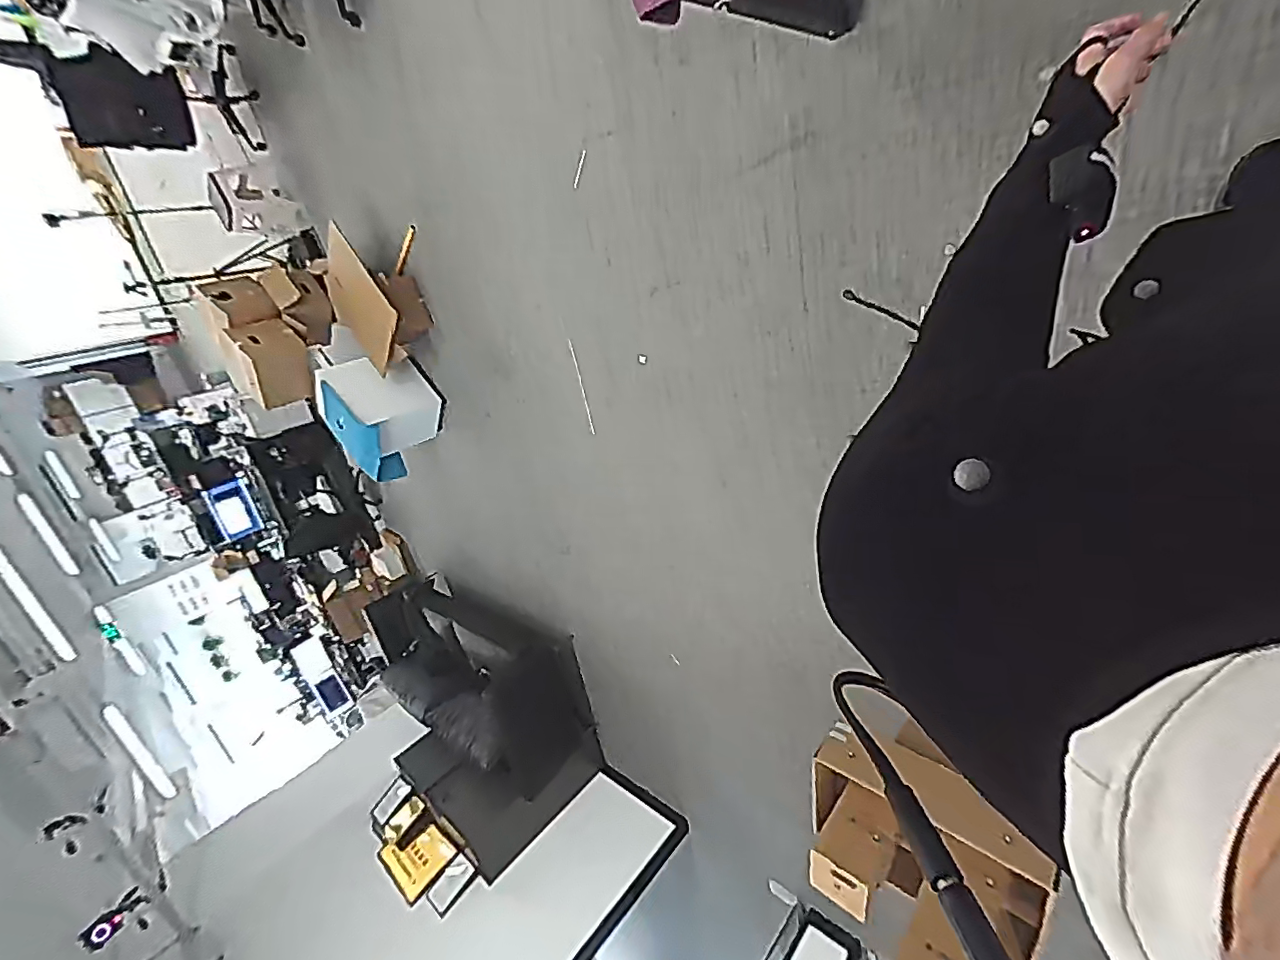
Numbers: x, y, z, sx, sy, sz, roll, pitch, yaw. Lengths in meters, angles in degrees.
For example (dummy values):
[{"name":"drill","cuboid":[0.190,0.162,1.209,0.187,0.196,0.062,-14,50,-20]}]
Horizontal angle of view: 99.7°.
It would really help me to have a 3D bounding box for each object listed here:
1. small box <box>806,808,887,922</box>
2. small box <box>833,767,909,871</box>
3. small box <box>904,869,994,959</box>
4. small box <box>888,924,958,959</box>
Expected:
[{"name":"small box","cuboid":[0.597,1.101,1.561,0.168,0.176,0.179,17,125,40]},{"name":"small box","cuboid":[0.709,1.037,1.664,0.168,0.176,0.179,17,123,41]},{"name":"small box","cuboid":[0.791,1.170,1.394,0.168,0.176,0.179,14,123,41]},{"name":"small box","cuboid":[0.680,1.233,1.293,0.168,0.176,0.179,15,123,40]}]
